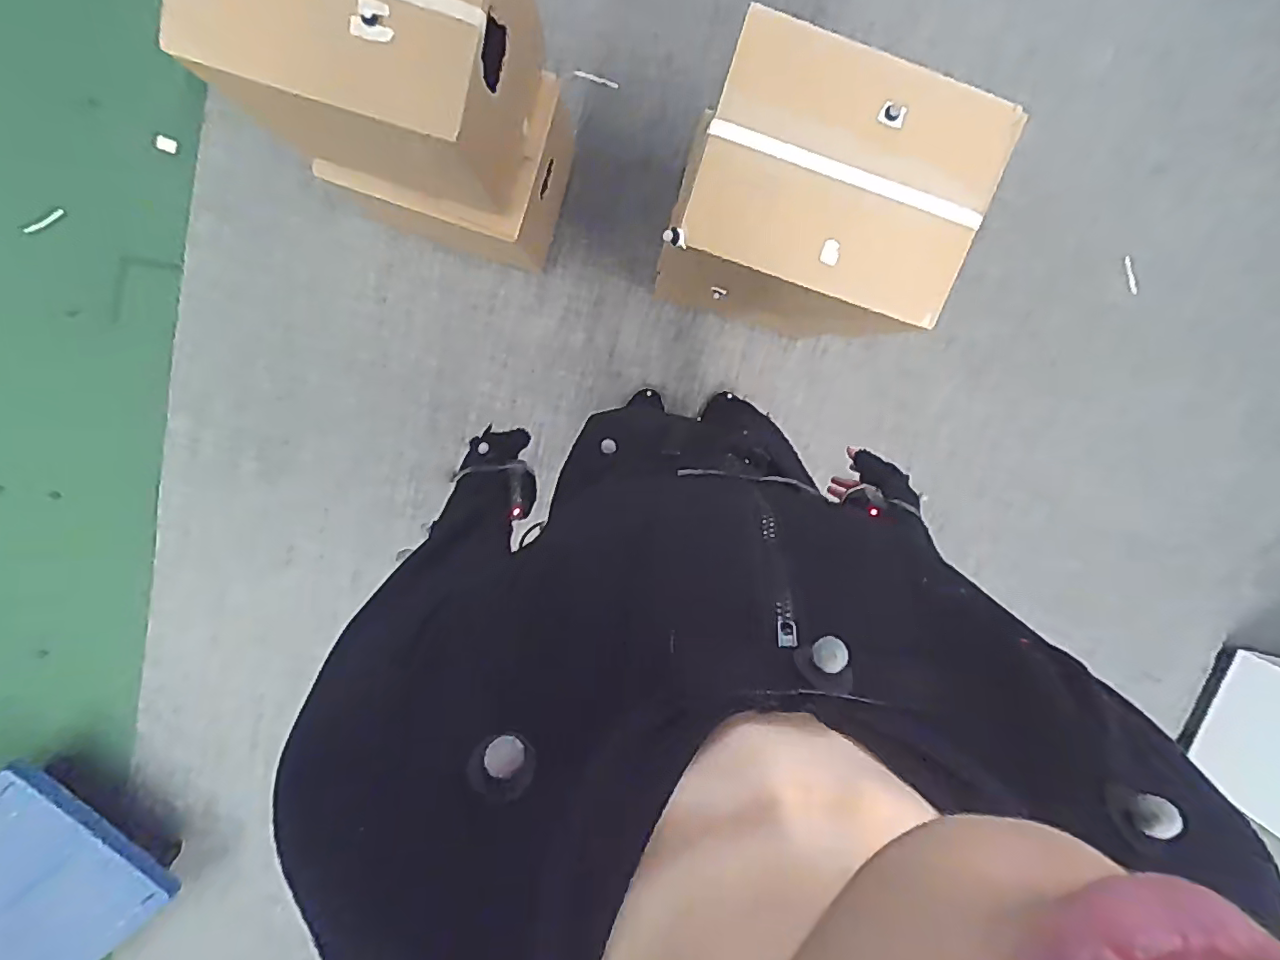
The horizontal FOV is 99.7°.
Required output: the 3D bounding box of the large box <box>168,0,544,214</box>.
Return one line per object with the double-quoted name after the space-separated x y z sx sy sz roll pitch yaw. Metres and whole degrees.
-0.402 -0.680 0.857 0.408 0.320 0.320 16 98 -5 "large box"
